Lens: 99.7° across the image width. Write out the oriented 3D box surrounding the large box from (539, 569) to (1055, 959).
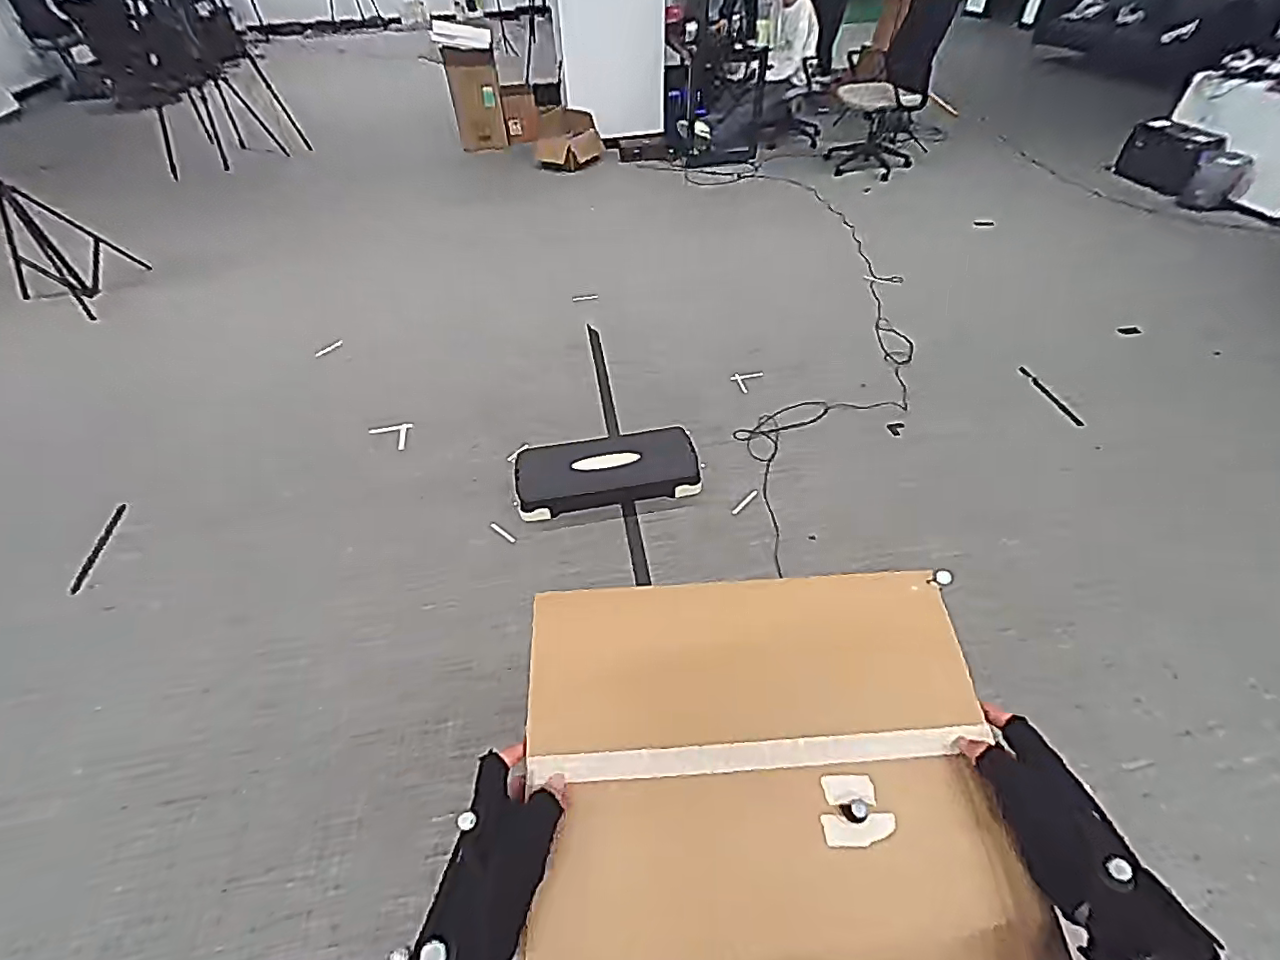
[{"bbox_3d":[0.108,0.316,0.606,0.408,0.320,0.320,-4,59,-2],"label":"large box"}]
